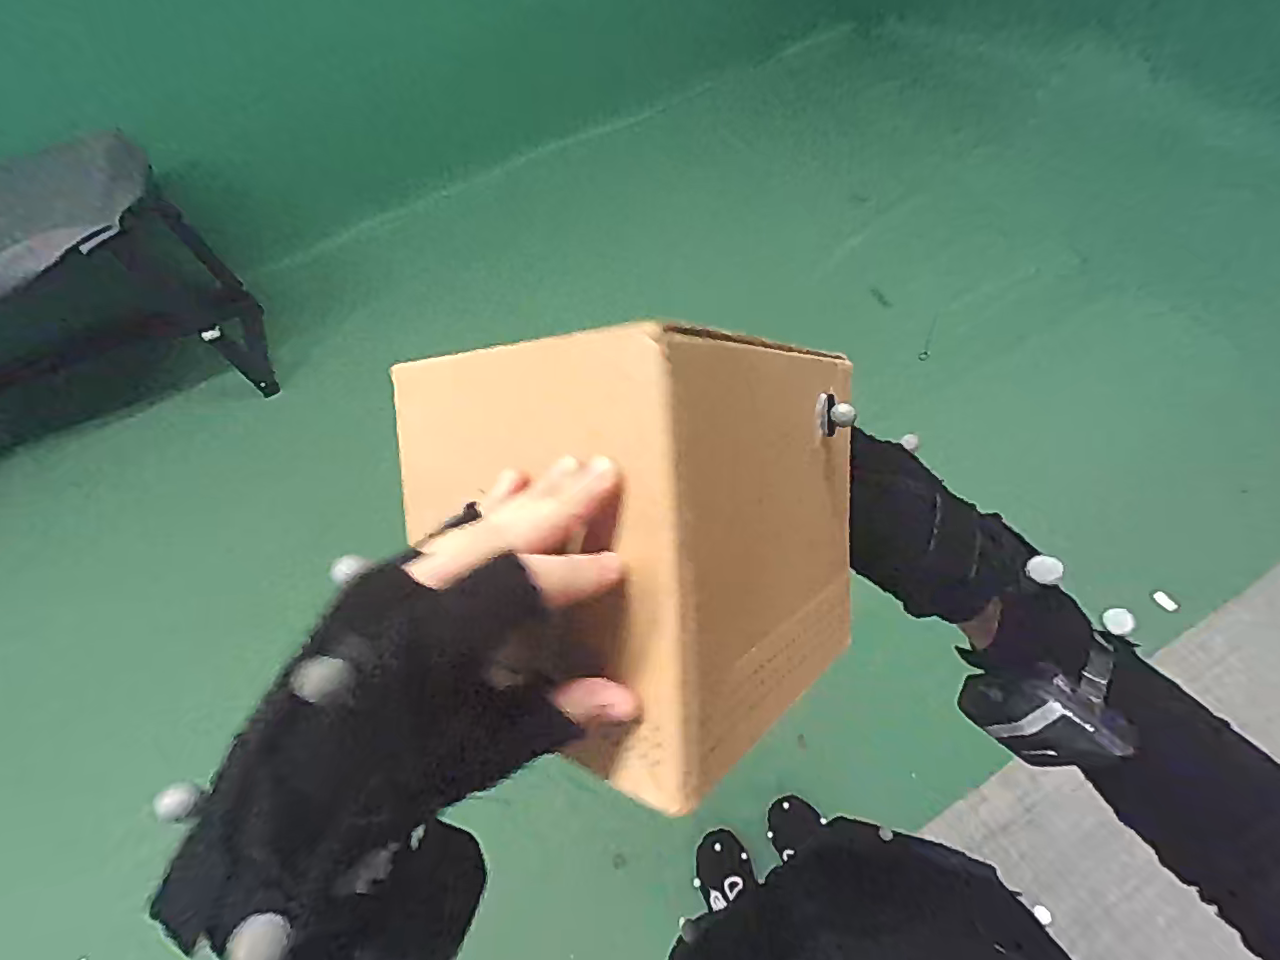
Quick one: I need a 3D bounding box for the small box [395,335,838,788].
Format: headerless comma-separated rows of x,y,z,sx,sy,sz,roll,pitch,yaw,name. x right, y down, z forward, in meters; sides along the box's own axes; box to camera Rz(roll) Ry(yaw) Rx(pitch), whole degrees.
-0.001,0.022,0.292,0.168,0.179,0.176,4,101,38,small box
